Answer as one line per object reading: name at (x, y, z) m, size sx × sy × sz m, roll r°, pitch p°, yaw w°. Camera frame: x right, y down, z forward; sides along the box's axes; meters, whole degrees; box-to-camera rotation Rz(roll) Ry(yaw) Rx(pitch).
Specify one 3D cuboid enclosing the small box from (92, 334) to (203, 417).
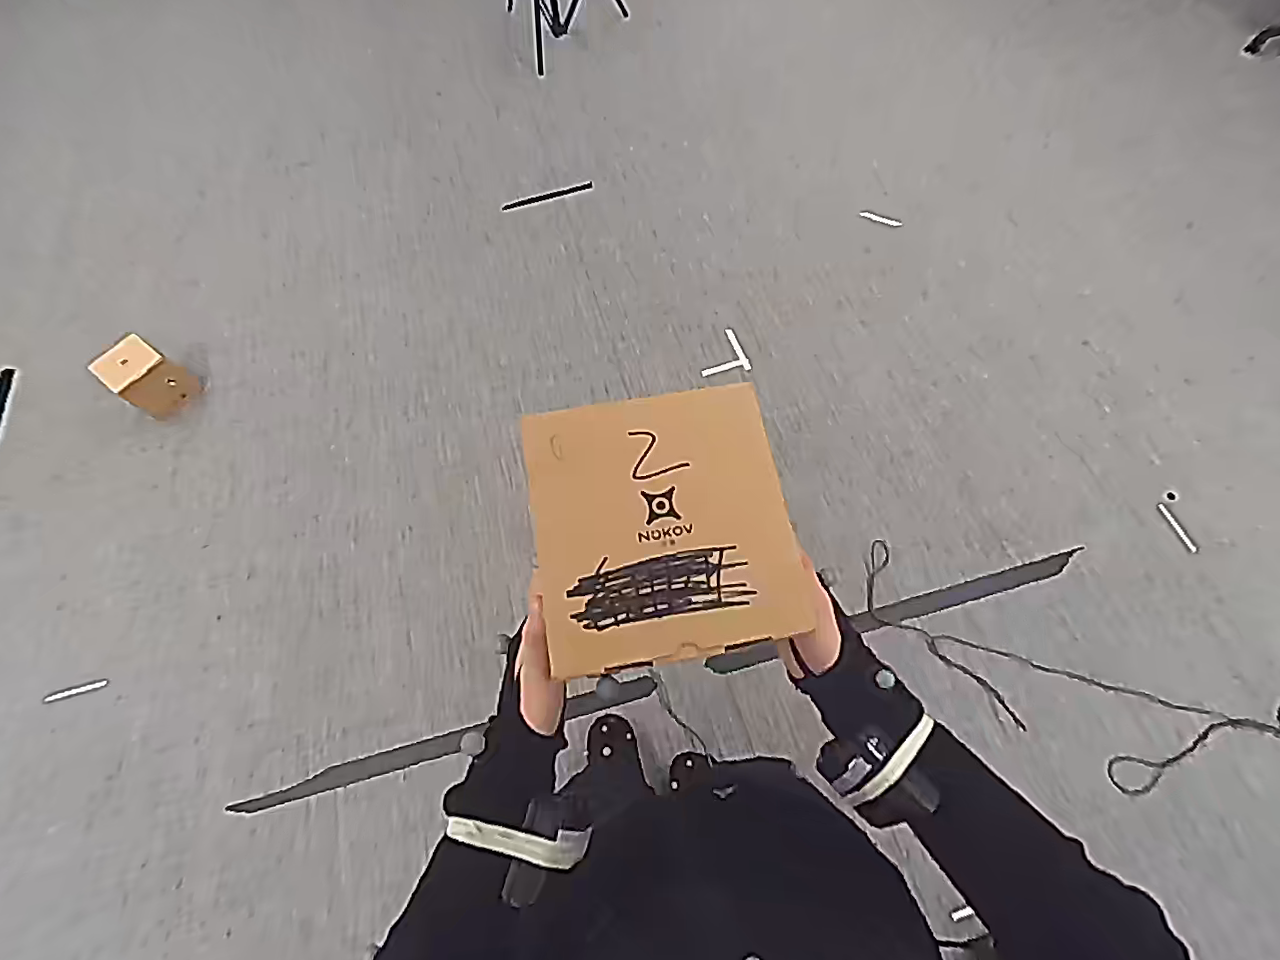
small box at (-1.576, -0.327, 1.742) m, size 0.179 × 0.176 × 0.168 m, roll 33°, pitch 70°, yaw 18°
